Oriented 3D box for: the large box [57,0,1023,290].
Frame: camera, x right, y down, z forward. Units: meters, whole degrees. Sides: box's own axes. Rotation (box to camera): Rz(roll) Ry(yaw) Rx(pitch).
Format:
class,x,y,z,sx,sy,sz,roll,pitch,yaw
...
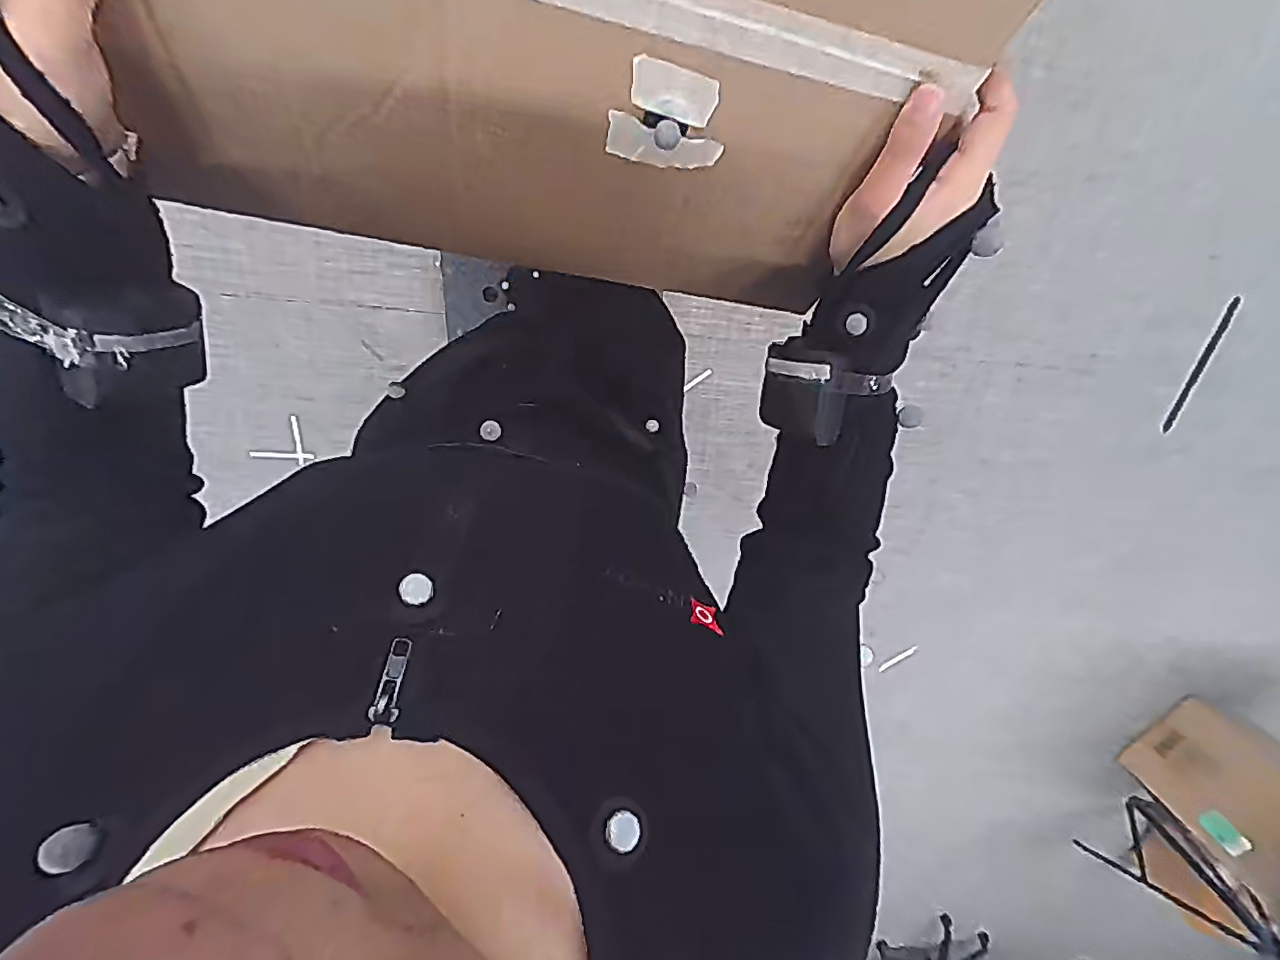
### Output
class,x,y,z,sx,sy,sz,roll,pitch,yaw
large box,-0.041,-0.347,0.277,0.408,0.320,0.320,4,157,-13
